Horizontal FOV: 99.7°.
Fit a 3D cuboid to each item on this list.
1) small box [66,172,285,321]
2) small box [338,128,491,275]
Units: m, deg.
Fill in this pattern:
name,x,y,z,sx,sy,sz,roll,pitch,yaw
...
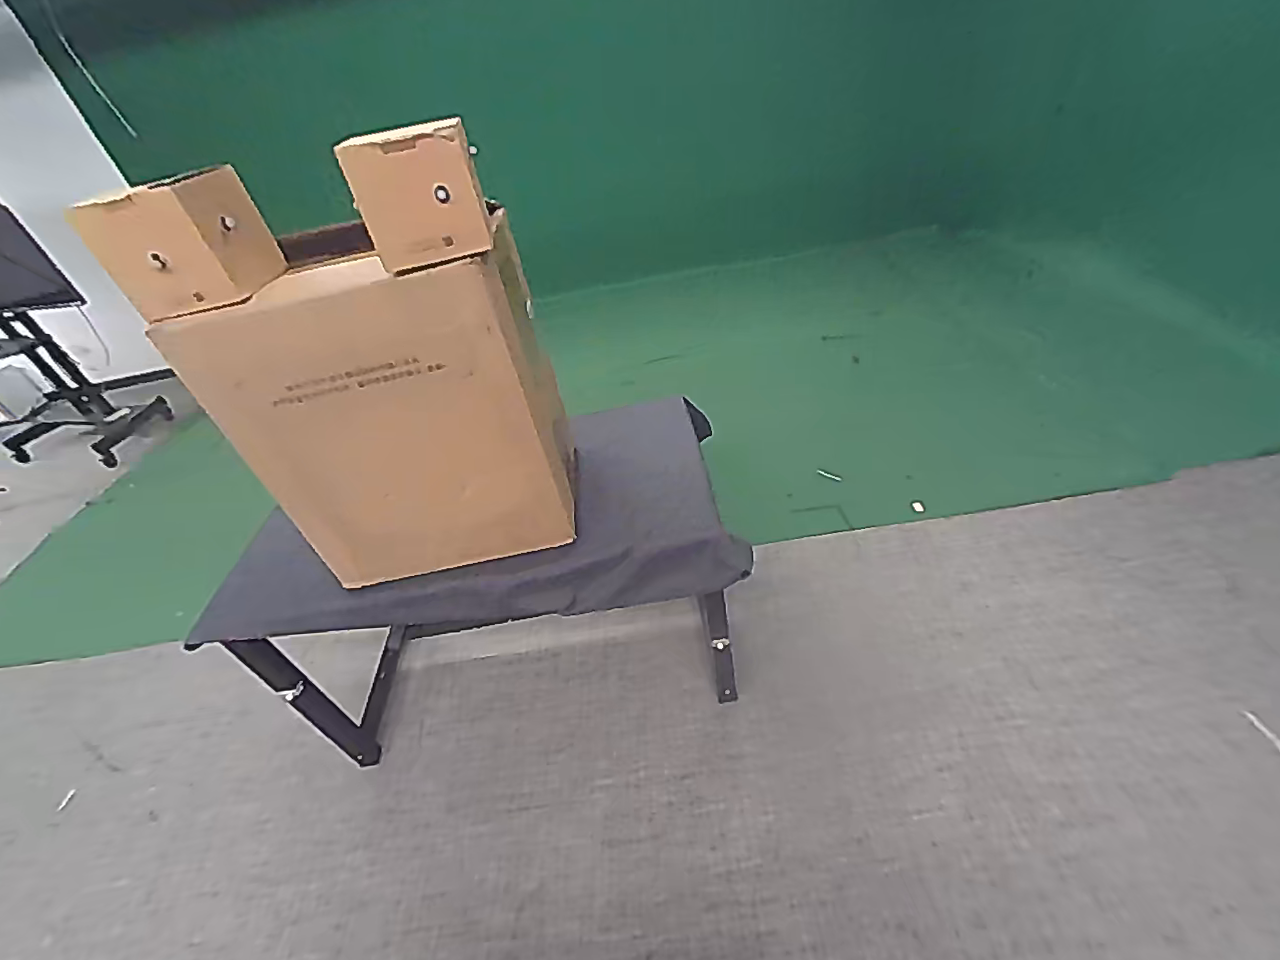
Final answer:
name,x,y,z,sx,sy,sz,roll,pitch,yaw
small box,-0.716,-0.367,0.864,0.168,0.176,0.179,-11,38,2
small box,-0.337,-0.433,0.846,0.168,0.176,0.179,-14,37,-7
